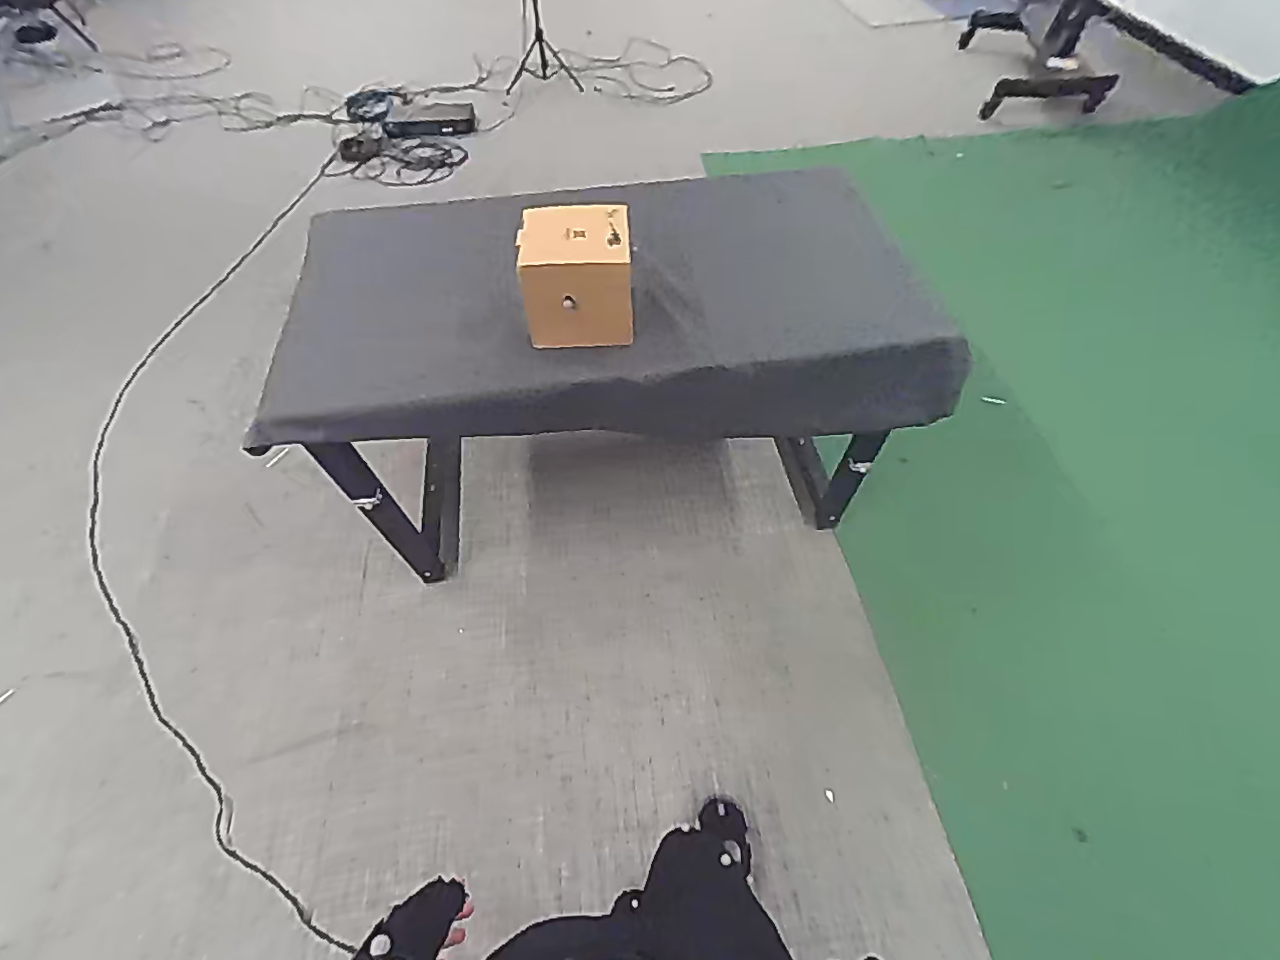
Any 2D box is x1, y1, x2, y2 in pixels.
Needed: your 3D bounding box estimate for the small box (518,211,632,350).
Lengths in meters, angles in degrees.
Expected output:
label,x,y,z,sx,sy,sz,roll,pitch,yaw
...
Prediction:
label,x,y,z,sx,sy,sz,roll,pitch,yaw
small box,-0.109,-0.346,0.951,0.179,0.176,0.168,-5,54,-3
